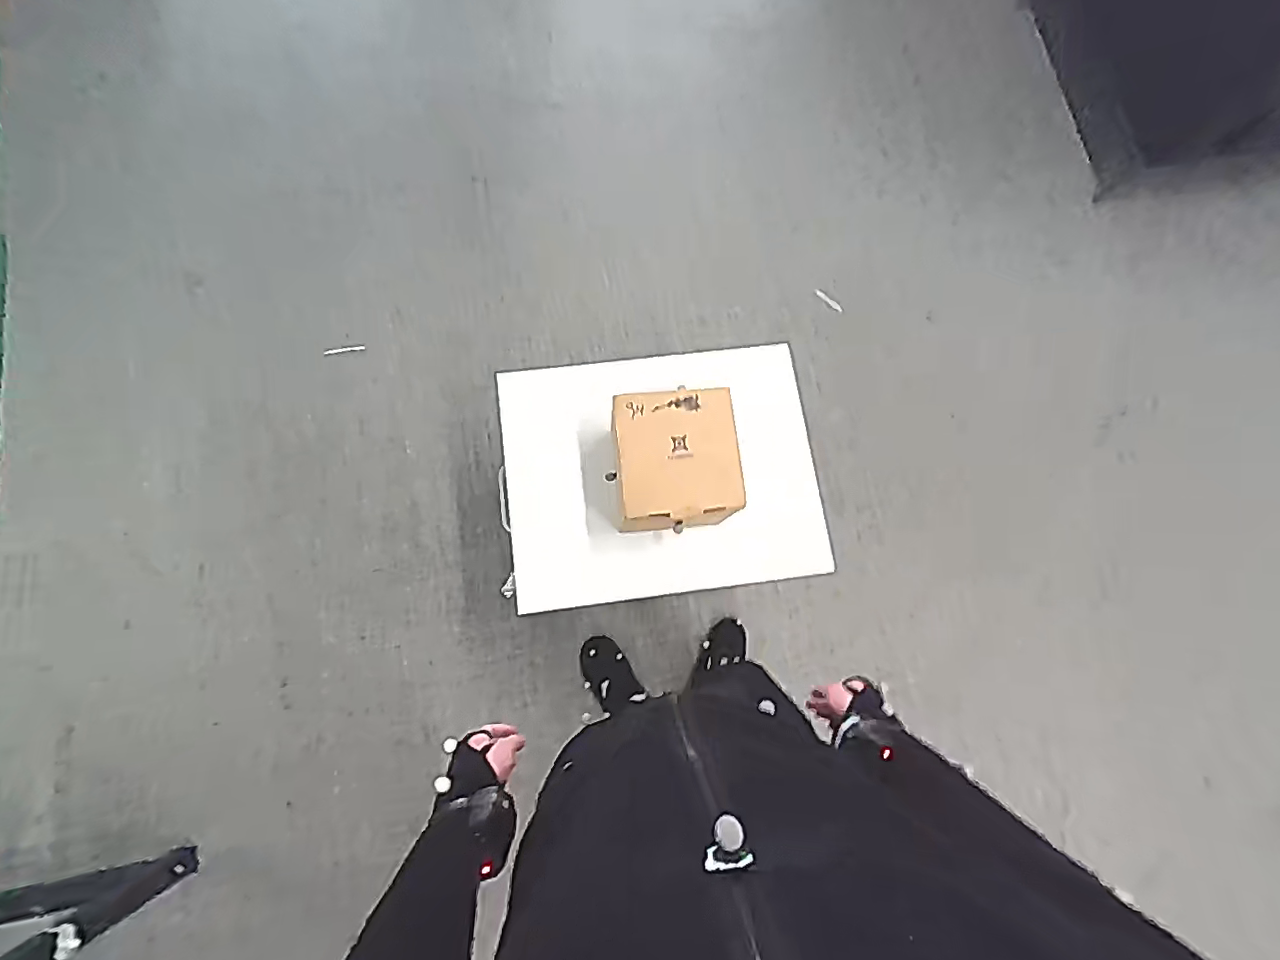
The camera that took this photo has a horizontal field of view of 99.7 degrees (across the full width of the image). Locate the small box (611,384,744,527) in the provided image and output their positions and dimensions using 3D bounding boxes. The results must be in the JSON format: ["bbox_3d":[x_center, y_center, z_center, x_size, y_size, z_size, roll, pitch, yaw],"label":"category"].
[{"bbox_3d":[0.048,-0.027,0.816,0.168,0.176,0.179,-6,78,-5],"label":"small box"}]
